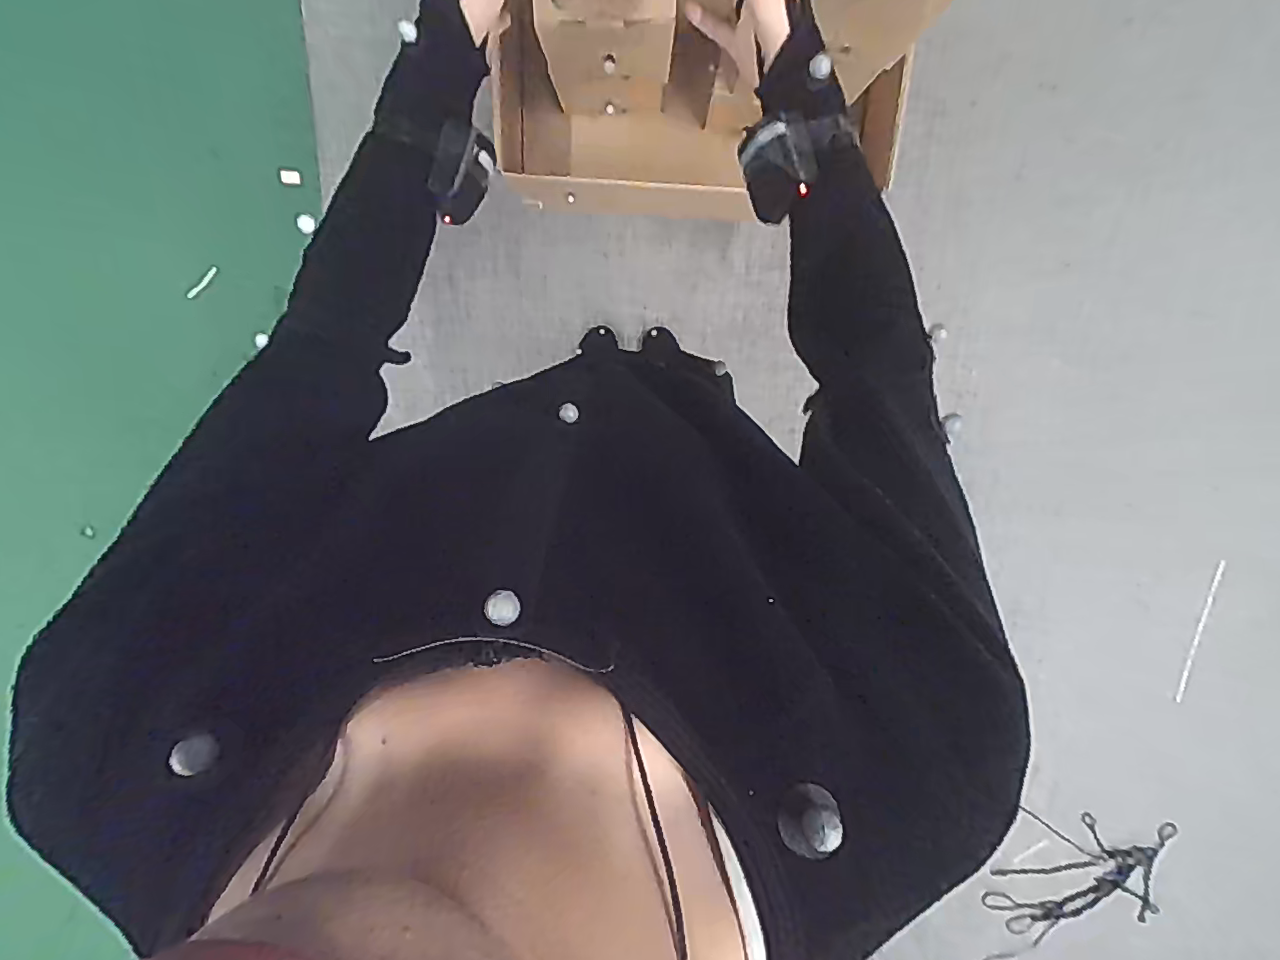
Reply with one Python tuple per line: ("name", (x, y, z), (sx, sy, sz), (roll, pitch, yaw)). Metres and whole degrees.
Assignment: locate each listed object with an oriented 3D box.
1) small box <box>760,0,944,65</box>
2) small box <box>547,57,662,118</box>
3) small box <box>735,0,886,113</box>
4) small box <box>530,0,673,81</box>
("small box", (0.224, -0.545, 0.518), (0.168, 0.176, 0.179), (11, 105, -3))
("small box", (-0.049, -0.682, 0.821), (0.168, 0.176, 0.179), (0, 106, 1))
("small box", (0.222, -0.593, 0.675), (0.168, 0.176, 0.179), (9, 106, -2))
("small box", (-0.042, -0.623, 0.668), (0.168, 0.176, 0.179), (0, 106, 0))
